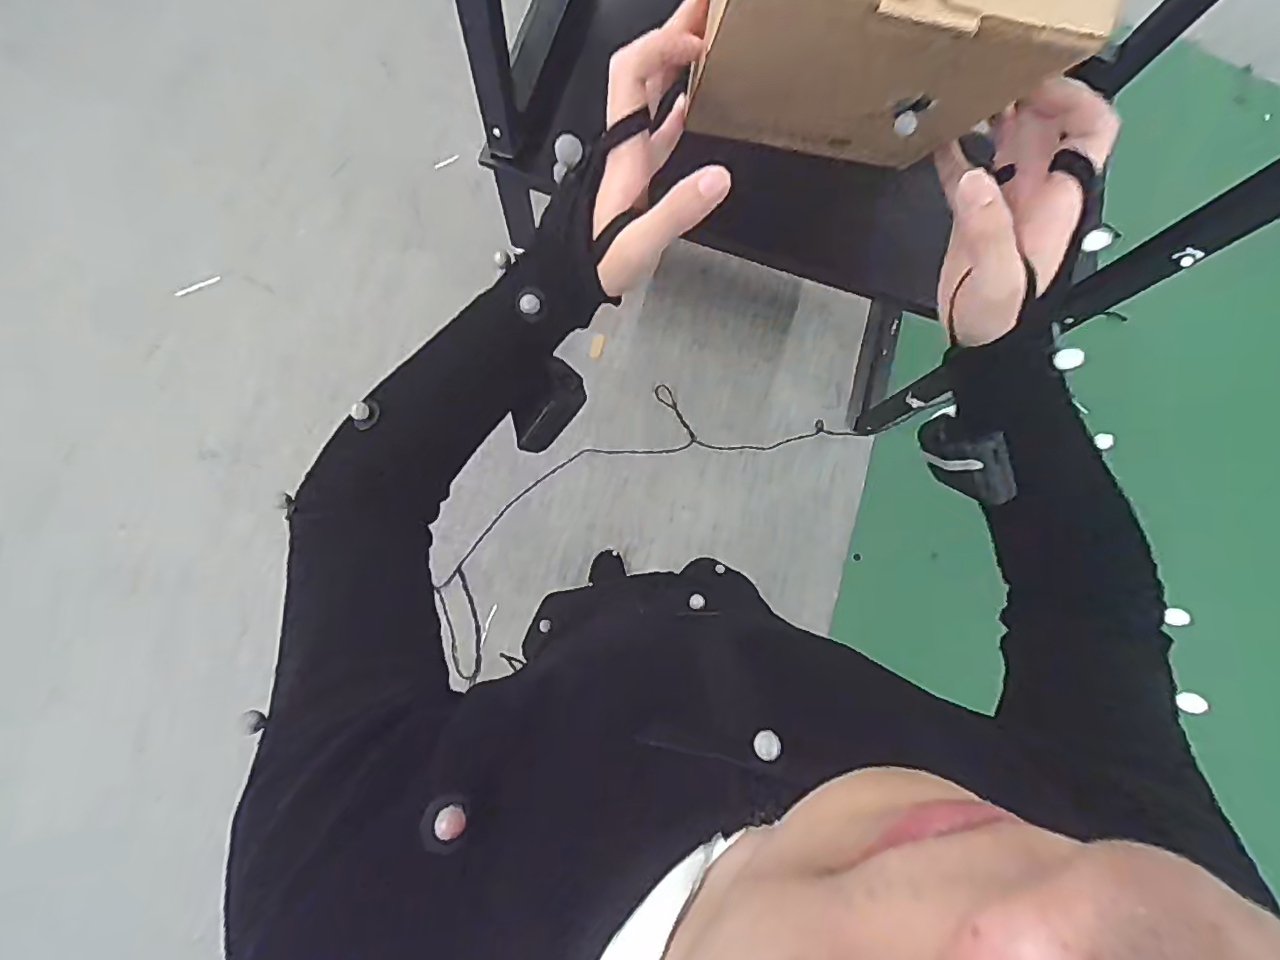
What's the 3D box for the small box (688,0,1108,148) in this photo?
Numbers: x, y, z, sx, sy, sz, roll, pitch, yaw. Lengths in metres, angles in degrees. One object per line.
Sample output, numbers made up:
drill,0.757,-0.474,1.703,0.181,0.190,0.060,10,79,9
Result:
small box,0.125,-0.303,0.280,0.168,0.176,0.179,8,104,-5
